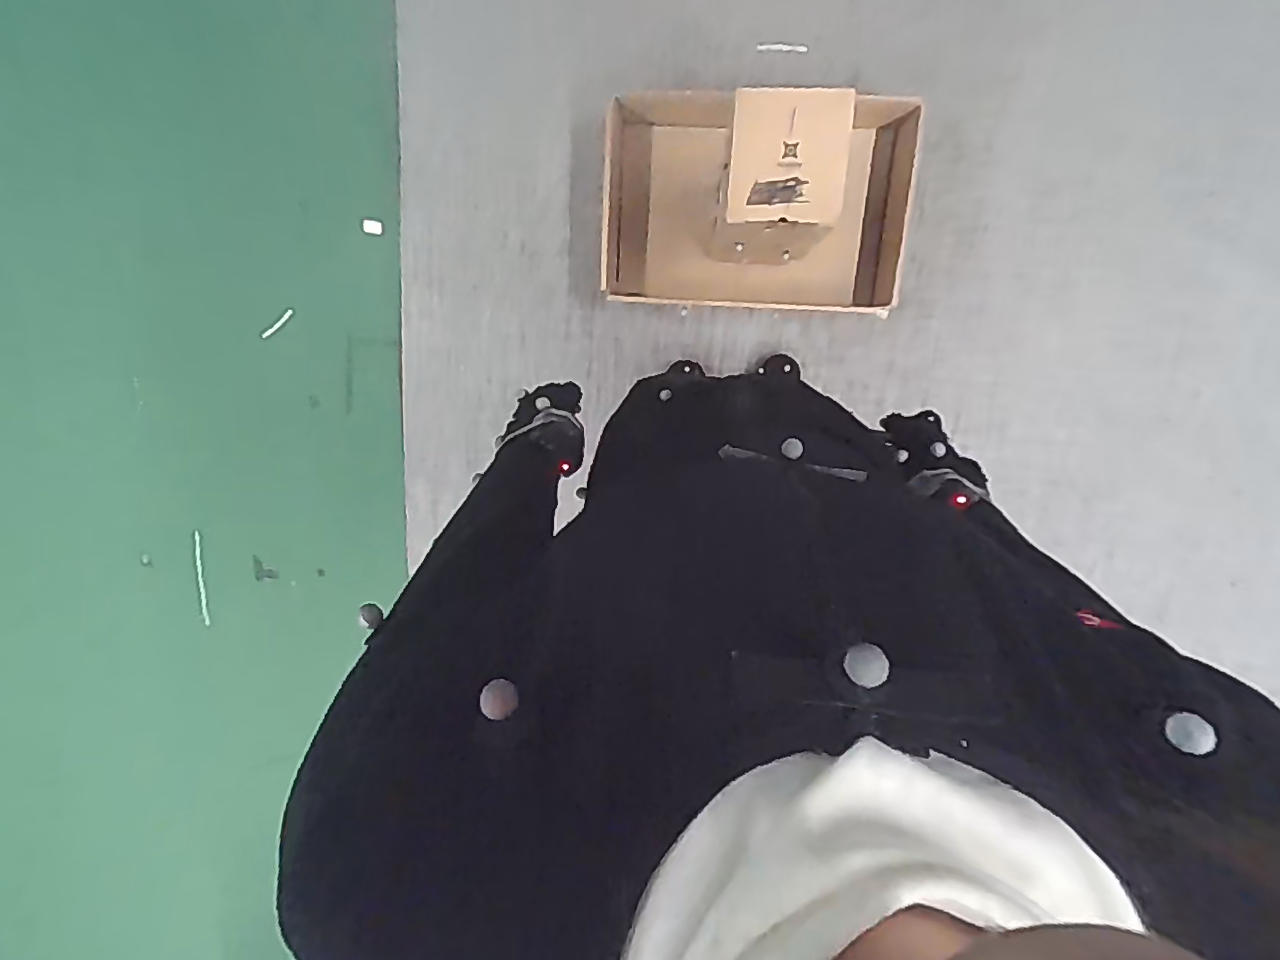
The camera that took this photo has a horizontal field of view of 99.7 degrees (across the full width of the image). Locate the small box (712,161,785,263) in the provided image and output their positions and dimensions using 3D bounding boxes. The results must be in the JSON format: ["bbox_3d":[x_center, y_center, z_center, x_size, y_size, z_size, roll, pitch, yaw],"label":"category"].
[{"bbox_3d":[0.247,-0.569,1.162,0.179,0.176,0.168,3,103,5],"label":"small box"}]

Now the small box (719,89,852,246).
[{"bbox_3d":[0.215,-0.476,0.848,0.168,0.176,0.179,4,102,4],"label":"small box"}]

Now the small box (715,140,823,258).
[{"bbox_3d":[0.233,-0.508,0.991,0.179,0.176,0.168,1,103,5],"label":"small box"}]
